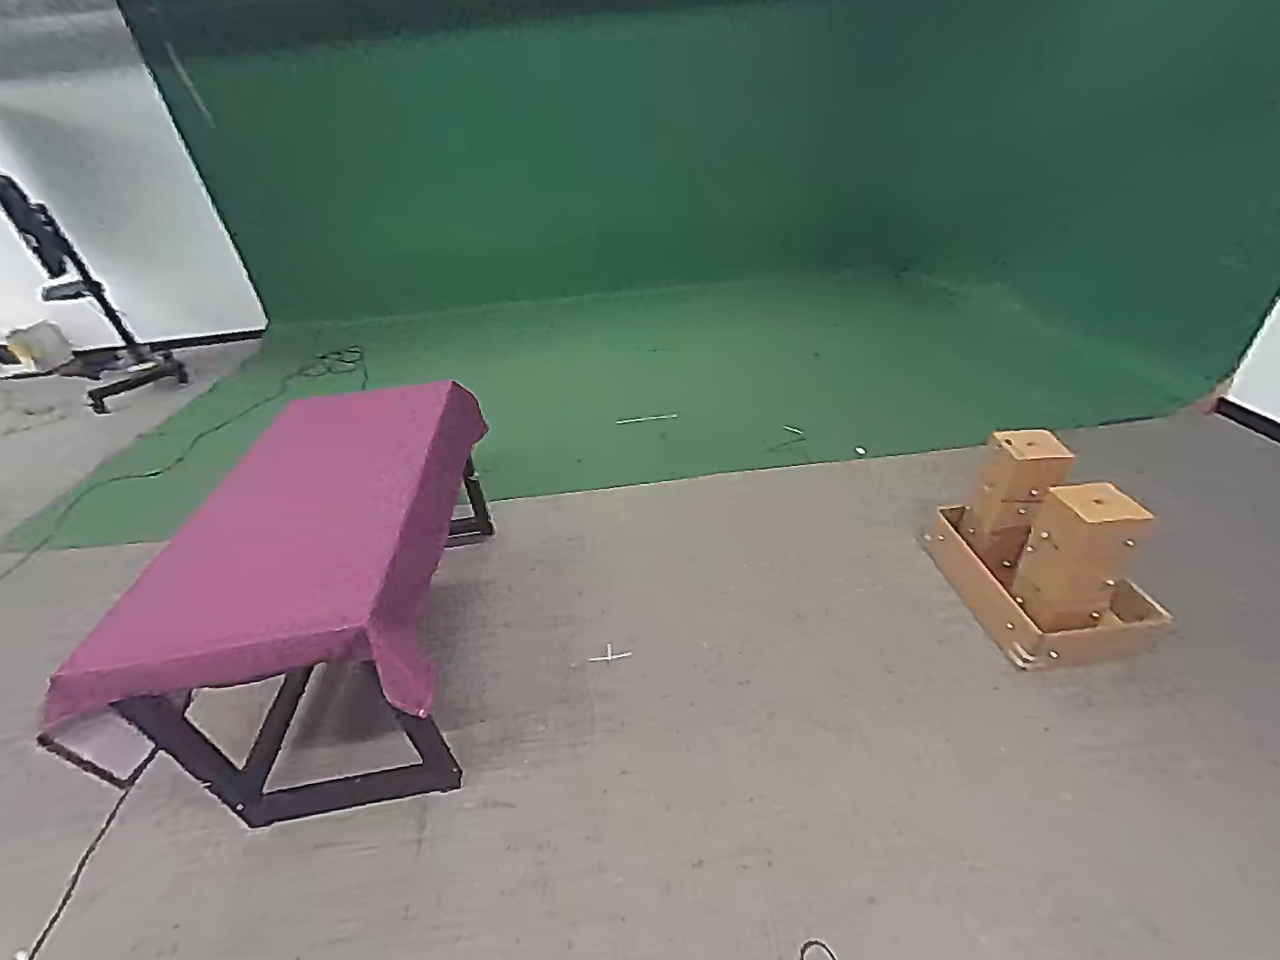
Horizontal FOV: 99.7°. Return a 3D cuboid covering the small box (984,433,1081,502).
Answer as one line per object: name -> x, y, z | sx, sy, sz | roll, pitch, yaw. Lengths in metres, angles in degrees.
small box -> 1.271, -0.041, 1.766 | 0.179, 0.176, 0.168 | -1, 35, 5

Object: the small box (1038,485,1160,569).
small box -> 1.279, 0.134, 1.524 | 0.179, 0.176, 0.168 | -5, 34, 2

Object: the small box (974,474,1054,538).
small box -> 1.288, 0.089, 1.867 | 0.179, 0.176, 0.168 | -2, 36, 4
